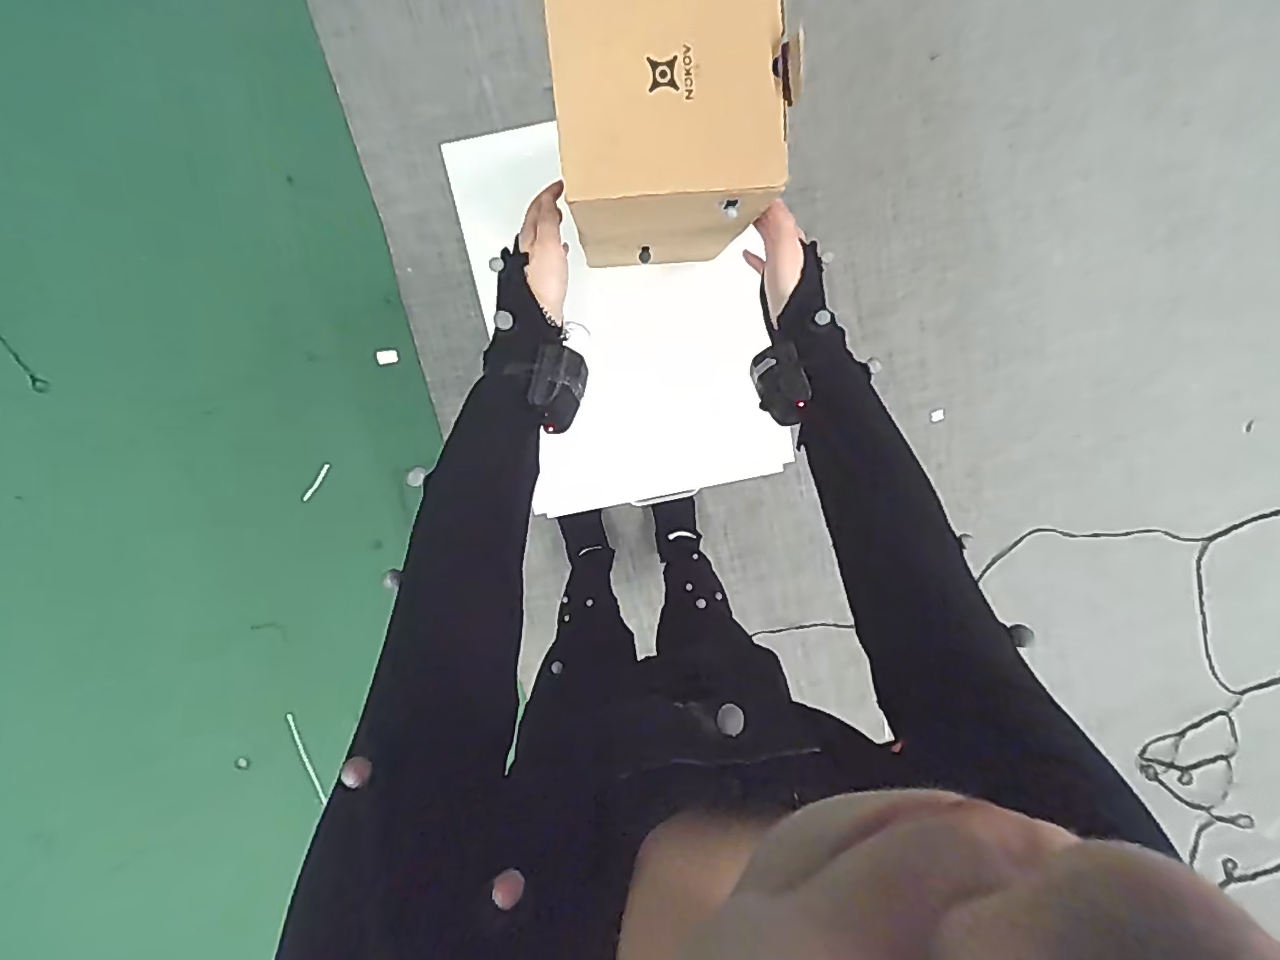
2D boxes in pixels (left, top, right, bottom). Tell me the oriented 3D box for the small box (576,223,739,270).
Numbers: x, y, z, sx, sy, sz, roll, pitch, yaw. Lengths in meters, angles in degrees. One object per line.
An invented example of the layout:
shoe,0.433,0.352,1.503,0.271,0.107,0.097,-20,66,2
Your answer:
small box,0.013,-0.352,0.639,0.179,0.176,0.168,-5,102,-1

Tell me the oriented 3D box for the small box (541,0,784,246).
small box,0.017,-0.316,0.480,0.179,0.176,0.168,-5,102,-2
